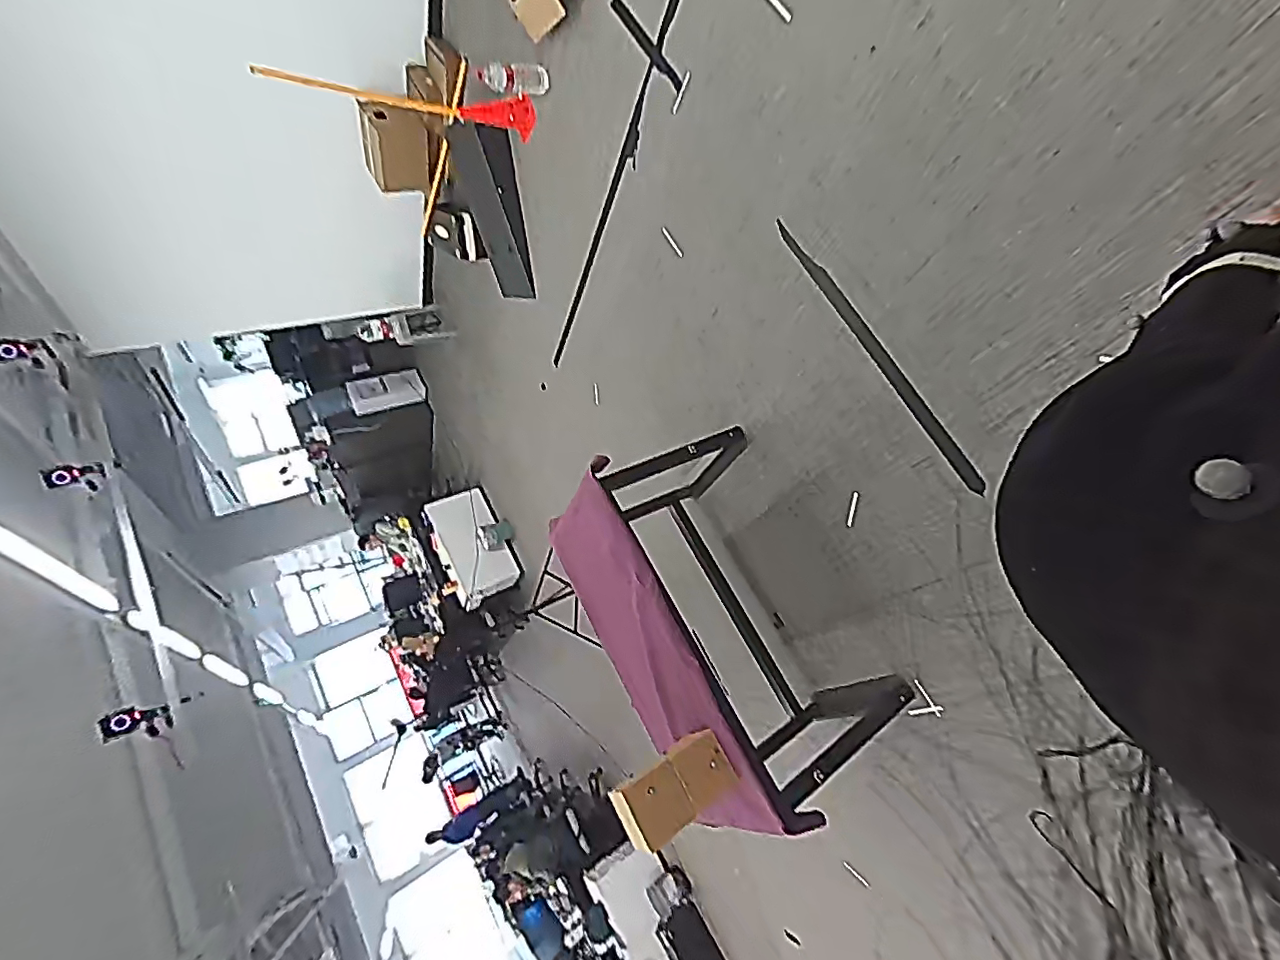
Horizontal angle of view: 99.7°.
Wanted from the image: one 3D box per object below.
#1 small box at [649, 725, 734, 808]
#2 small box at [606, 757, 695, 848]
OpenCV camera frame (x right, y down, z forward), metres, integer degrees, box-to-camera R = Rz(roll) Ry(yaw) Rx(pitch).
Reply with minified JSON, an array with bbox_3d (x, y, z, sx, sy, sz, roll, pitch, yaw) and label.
[{"bbox_3d":[0.160,0.885,1.672,0.168,0.176,0.179,58,148,16],"label":"small box"},{"bbox_3d":[0.029,0.939,1.591,0.179,0.176,0.168,57,150,17],"label":"small box"}]
